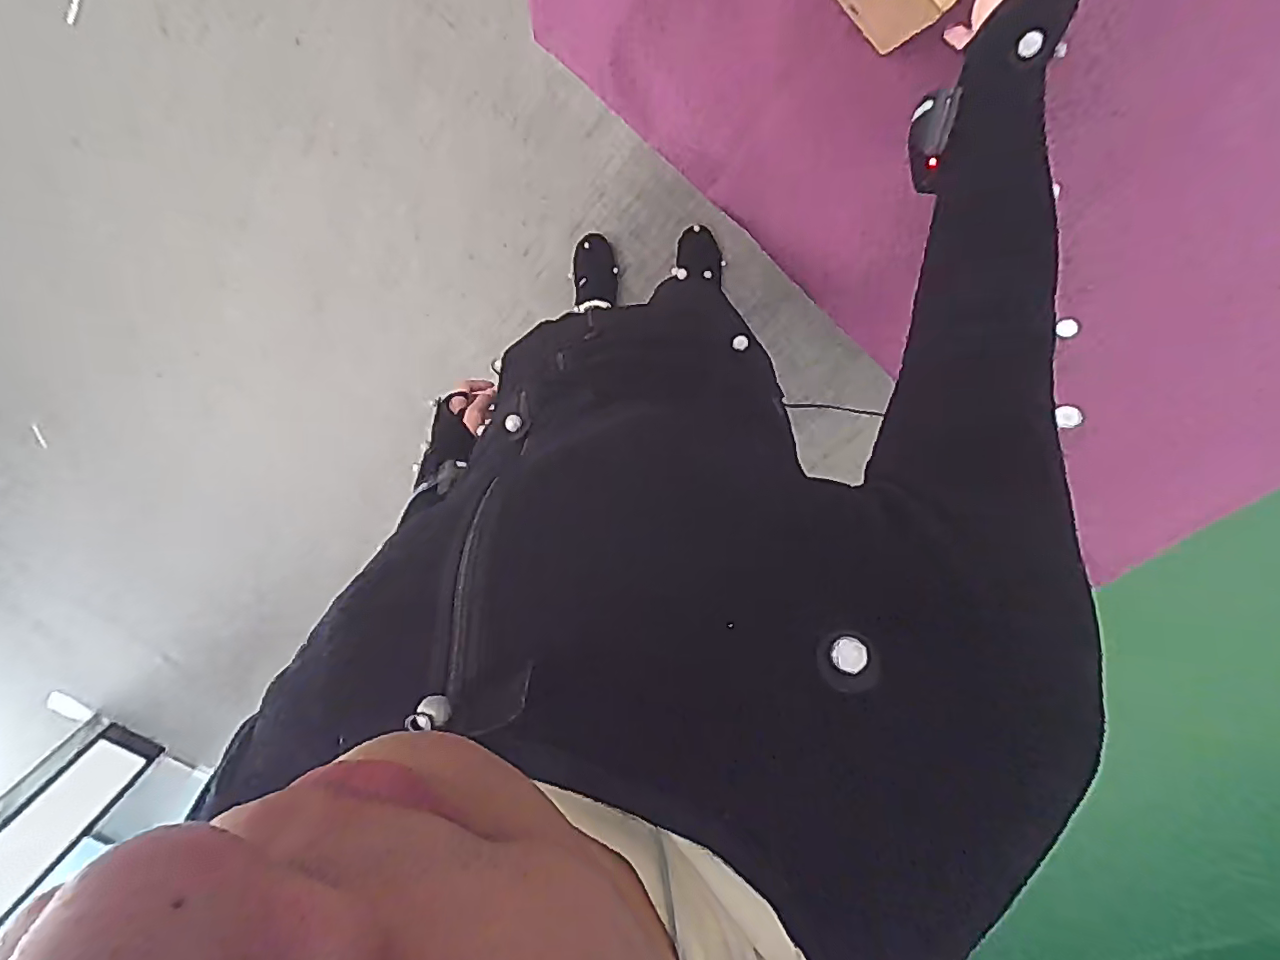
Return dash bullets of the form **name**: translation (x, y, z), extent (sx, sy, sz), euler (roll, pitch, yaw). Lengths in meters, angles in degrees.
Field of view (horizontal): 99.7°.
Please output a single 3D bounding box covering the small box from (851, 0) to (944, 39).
- **small box**: translation (0.266, -0.561, 0.498), extent (0.168, 0.176, 0.179), euler (38, 116, -15)
